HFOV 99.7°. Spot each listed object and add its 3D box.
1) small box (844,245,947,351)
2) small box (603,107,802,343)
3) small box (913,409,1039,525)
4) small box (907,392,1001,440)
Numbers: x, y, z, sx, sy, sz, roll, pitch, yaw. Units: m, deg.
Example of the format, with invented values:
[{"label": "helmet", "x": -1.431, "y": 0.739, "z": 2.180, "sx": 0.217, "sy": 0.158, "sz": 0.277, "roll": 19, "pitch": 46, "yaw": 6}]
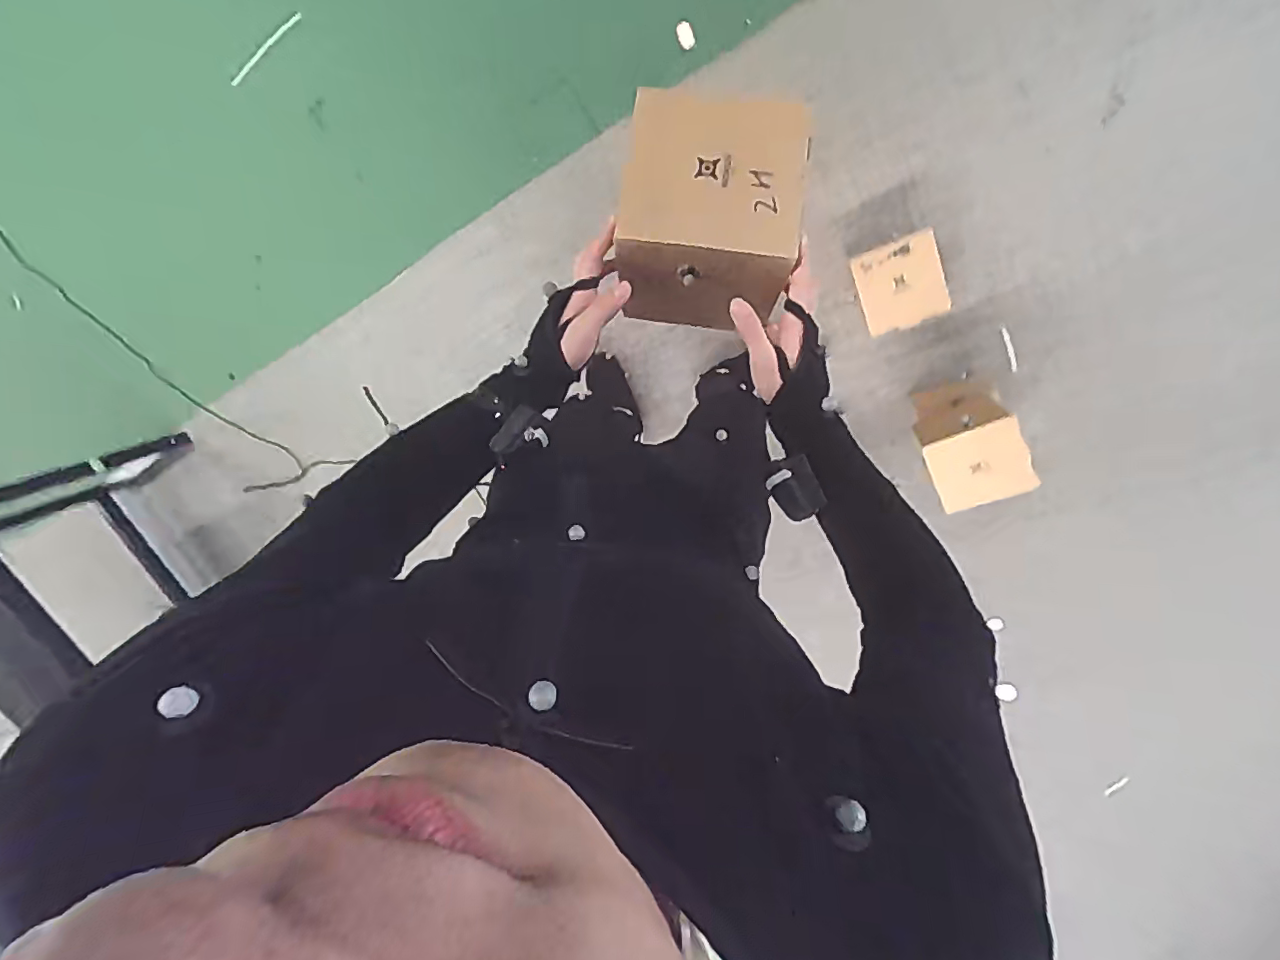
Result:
[{"label": "small box", "x": 0.574, "y": -0.416, "z": 1.228, "sx": 0.168, "sy": 0.176, "sz": 0.179, "roll": -17, "pitch": 106, "yaw": 22}, {"label": "small box", "x": 0.064, "y": -0.266, "z": 0.596, "sx": 0.179, "sy": 0.176, "sz": 0.168, "roll": 7, "pitch": 81, "yaw": 3}, {"label": "small box", "x": 0.707, "y": -0.031, "z": 1.161, "sx": 0.179, "sy": 0.176, "sz": 0.168, "roll": -23, "pitch": 103, "yaw": 23}, {"label": "small box", "x": 0.761, "y": -0.100, "z": 1.298, "sx": 0.168, "sy": 0.176, "sz": 0.179, "roll": -19, "pitch": 106, "yaw": 23}]
